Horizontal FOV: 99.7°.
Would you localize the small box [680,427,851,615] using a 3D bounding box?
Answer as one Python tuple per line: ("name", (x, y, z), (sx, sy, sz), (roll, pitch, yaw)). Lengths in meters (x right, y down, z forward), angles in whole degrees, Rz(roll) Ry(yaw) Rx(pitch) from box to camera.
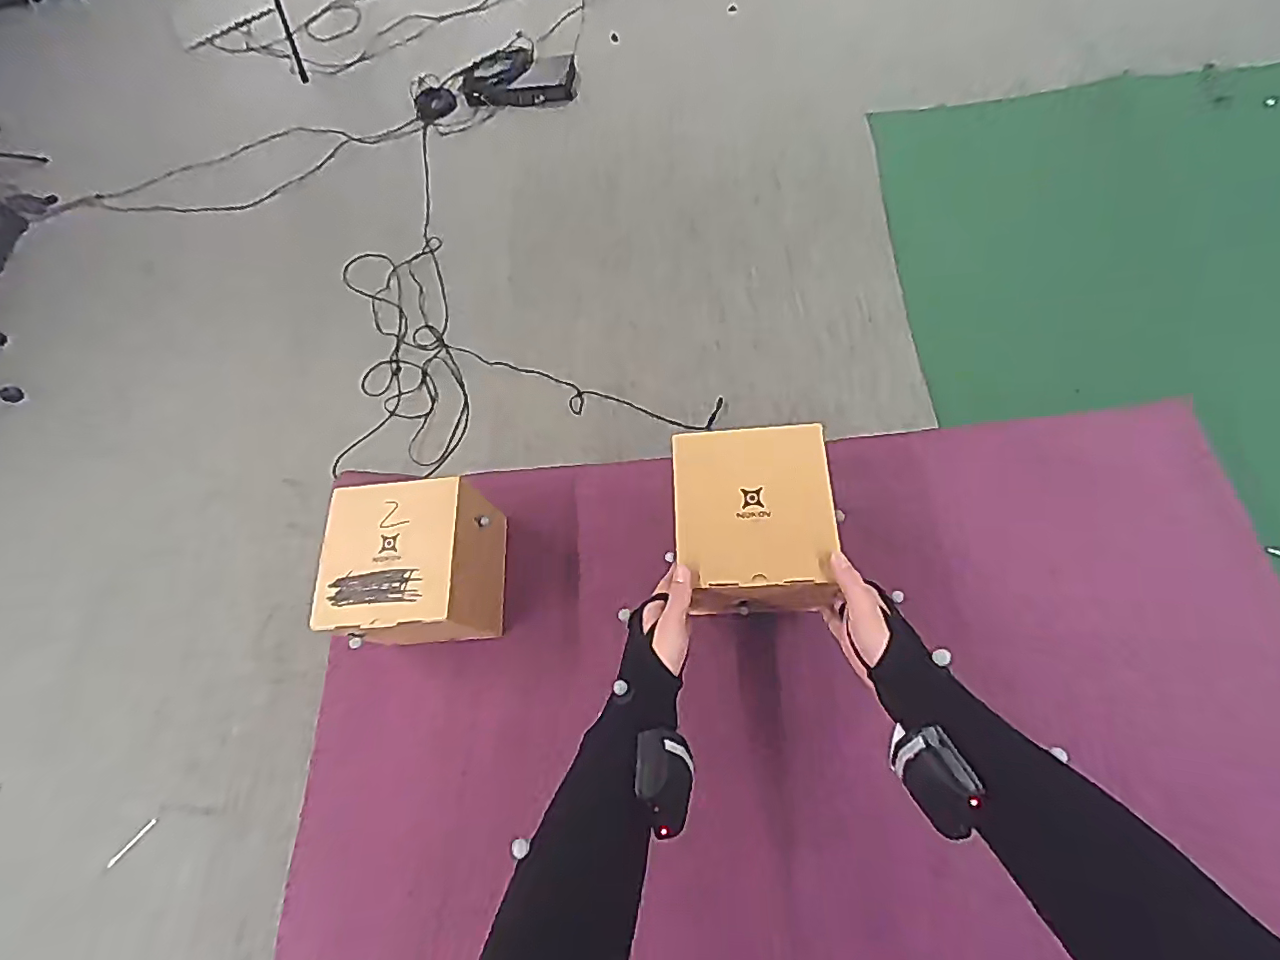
("small box", (0.133, 0.056, 0.635), (0.168, 0.176, 0.179), (-3, 68, 7))
